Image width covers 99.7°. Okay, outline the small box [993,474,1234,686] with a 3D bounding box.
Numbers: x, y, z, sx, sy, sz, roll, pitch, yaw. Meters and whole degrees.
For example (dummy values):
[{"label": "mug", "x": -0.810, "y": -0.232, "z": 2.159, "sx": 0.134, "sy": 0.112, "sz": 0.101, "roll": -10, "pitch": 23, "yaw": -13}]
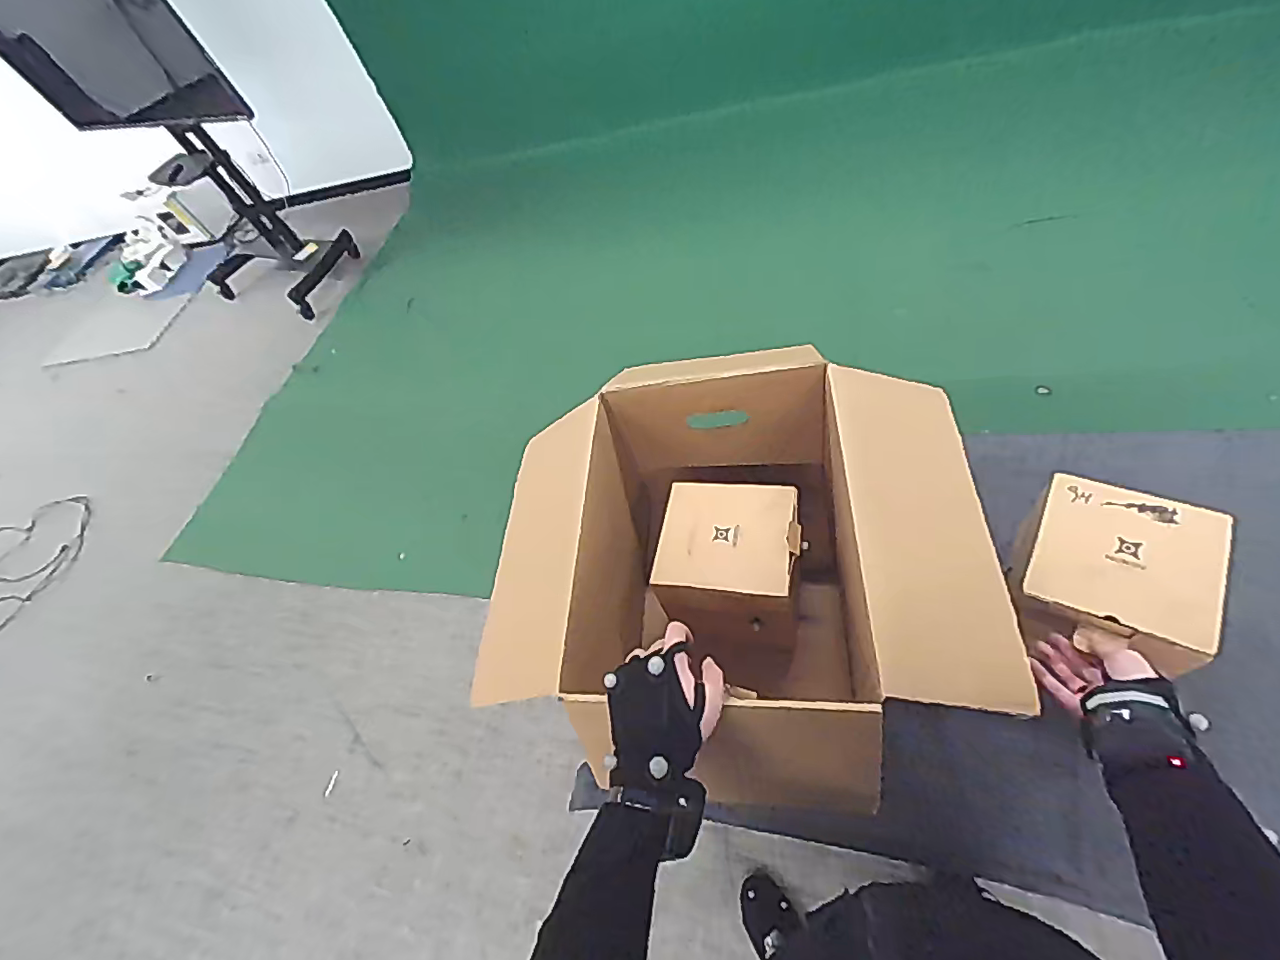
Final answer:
[{"label": "small box", "x": 0.565, "y": 0.127, "z": 0.670, "sx": 0.168, "sy": 0.176, "sz": 0.179, "roll": 23, "pitch": 69, "yaw": 30}]
